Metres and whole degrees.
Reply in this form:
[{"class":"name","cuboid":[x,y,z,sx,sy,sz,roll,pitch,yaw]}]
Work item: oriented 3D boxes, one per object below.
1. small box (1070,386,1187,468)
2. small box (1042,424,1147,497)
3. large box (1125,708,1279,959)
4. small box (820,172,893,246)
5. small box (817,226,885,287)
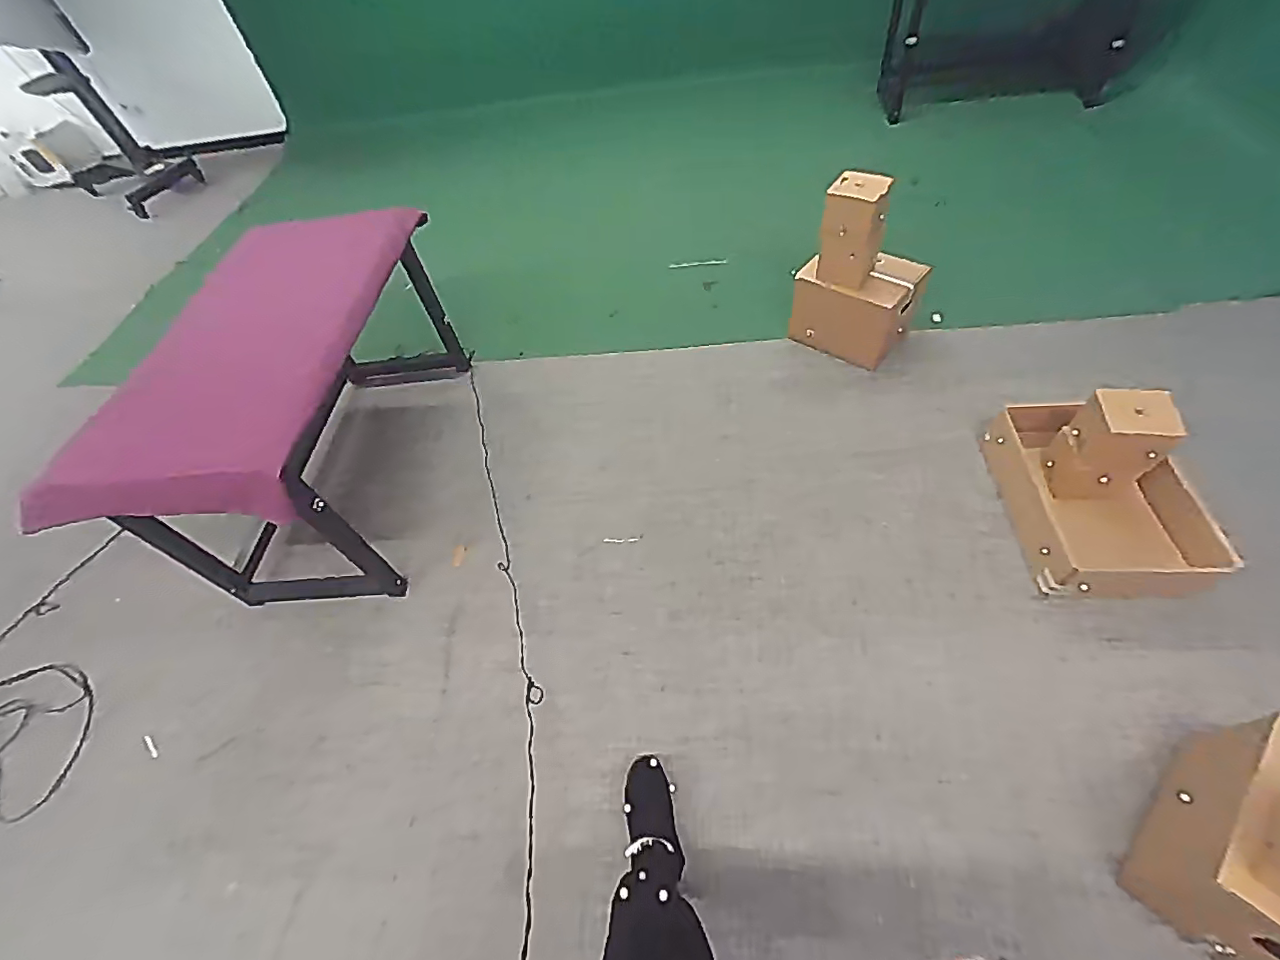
[{"class":"small box","cuboid":[1.385,-0.148,1.548,0.179,0.176,0.168,4,57,13]},{"class":"small box","cuboid":[1.403,-0.057,1.682,0.179,0.176,0.168,1,57,11]},{"class":"large box","cuboid":[1.281,0.752,1.068,0.320,0.320,0.408,36,65,29]},{"class":"small box","cuboid":[0.765,-0.960,1.924,0.179,0.176,0.168,28,62,25]},{"class":"small box","cuboid":[0.794,-0.858,2.050,0.179,0.176,0.168,27,62,25]}]
